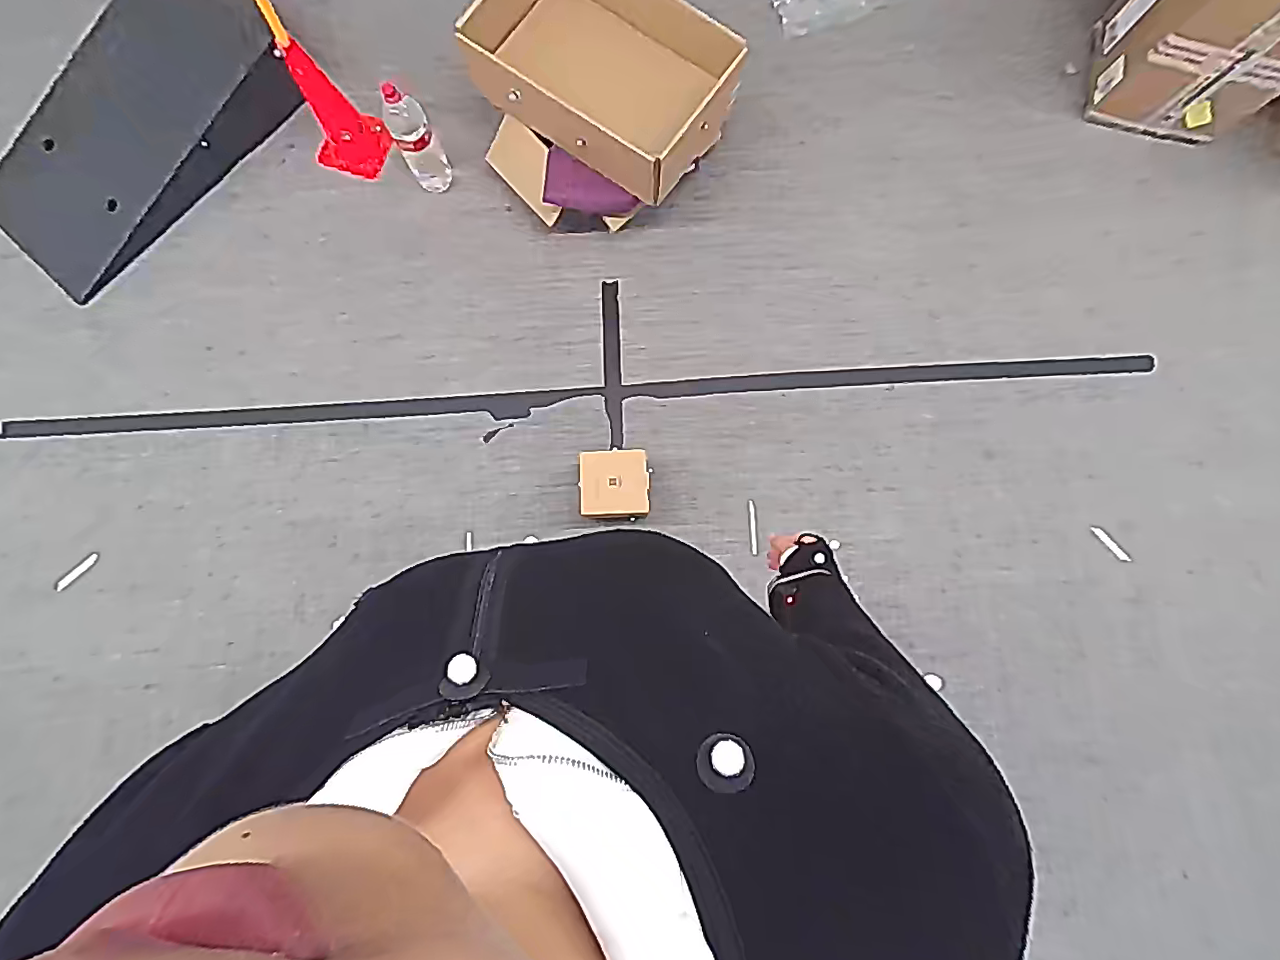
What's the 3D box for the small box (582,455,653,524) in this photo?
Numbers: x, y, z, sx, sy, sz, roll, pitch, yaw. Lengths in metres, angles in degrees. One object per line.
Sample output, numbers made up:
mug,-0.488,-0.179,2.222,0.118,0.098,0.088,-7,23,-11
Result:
small box,-0.058,0.029,1.455,0.179,0.176,0.168,-3,81,0
